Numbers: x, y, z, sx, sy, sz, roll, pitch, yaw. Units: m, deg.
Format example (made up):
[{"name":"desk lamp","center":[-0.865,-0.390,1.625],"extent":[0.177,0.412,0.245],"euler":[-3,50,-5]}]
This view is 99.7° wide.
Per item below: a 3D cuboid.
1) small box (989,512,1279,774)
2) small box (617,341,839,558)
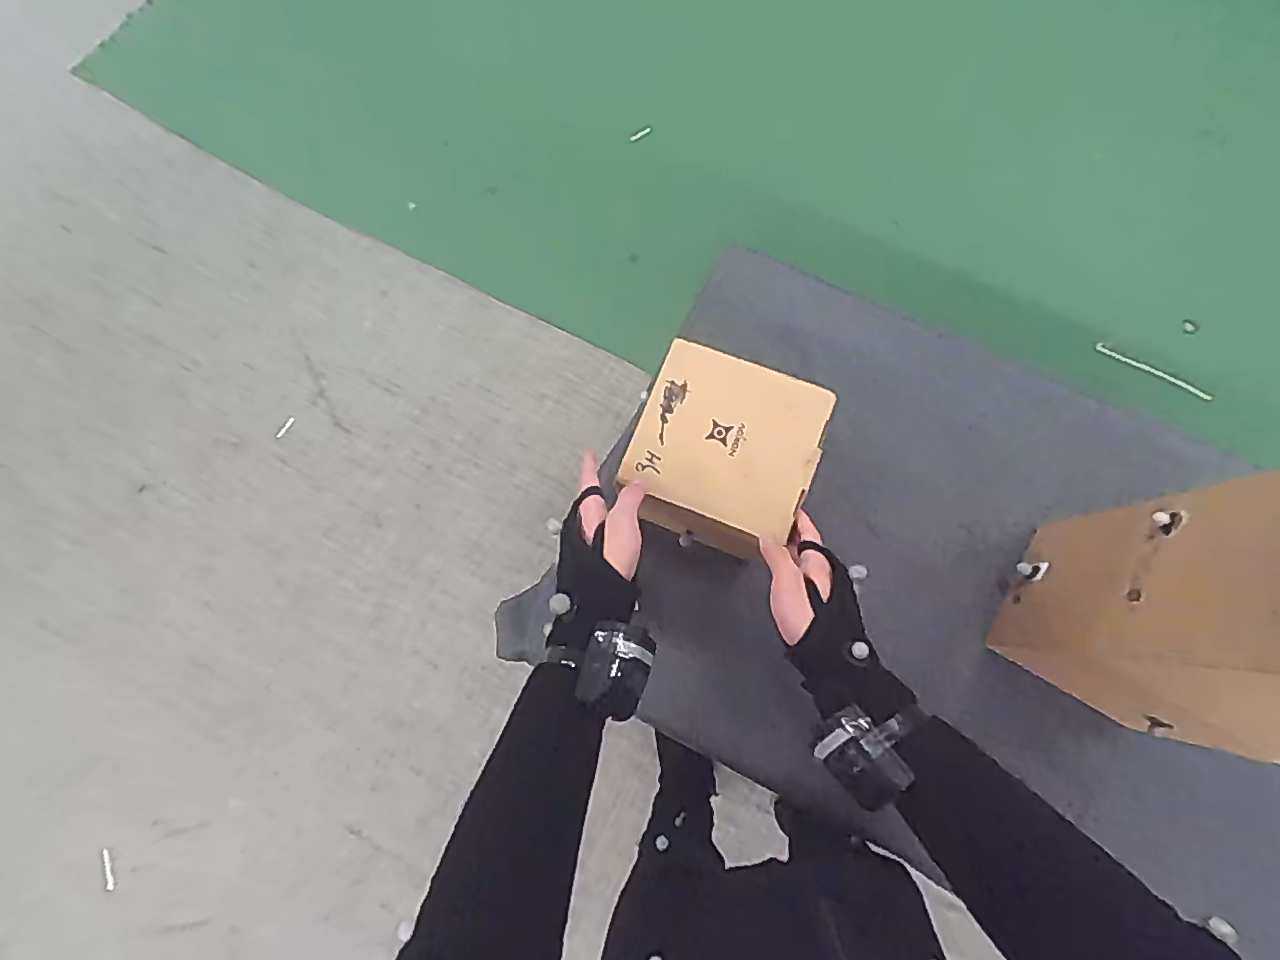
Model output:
[{"name":"small box","center":[0.513,0.157,0.554],"extent":[0.179,0.176,0.168],"euler":[30,78,9]},{"name":"small box","center":[0.088,-0.020,0.603],"extent":[0.179,0.176,0.168],"euler":[22,77,6]}]
